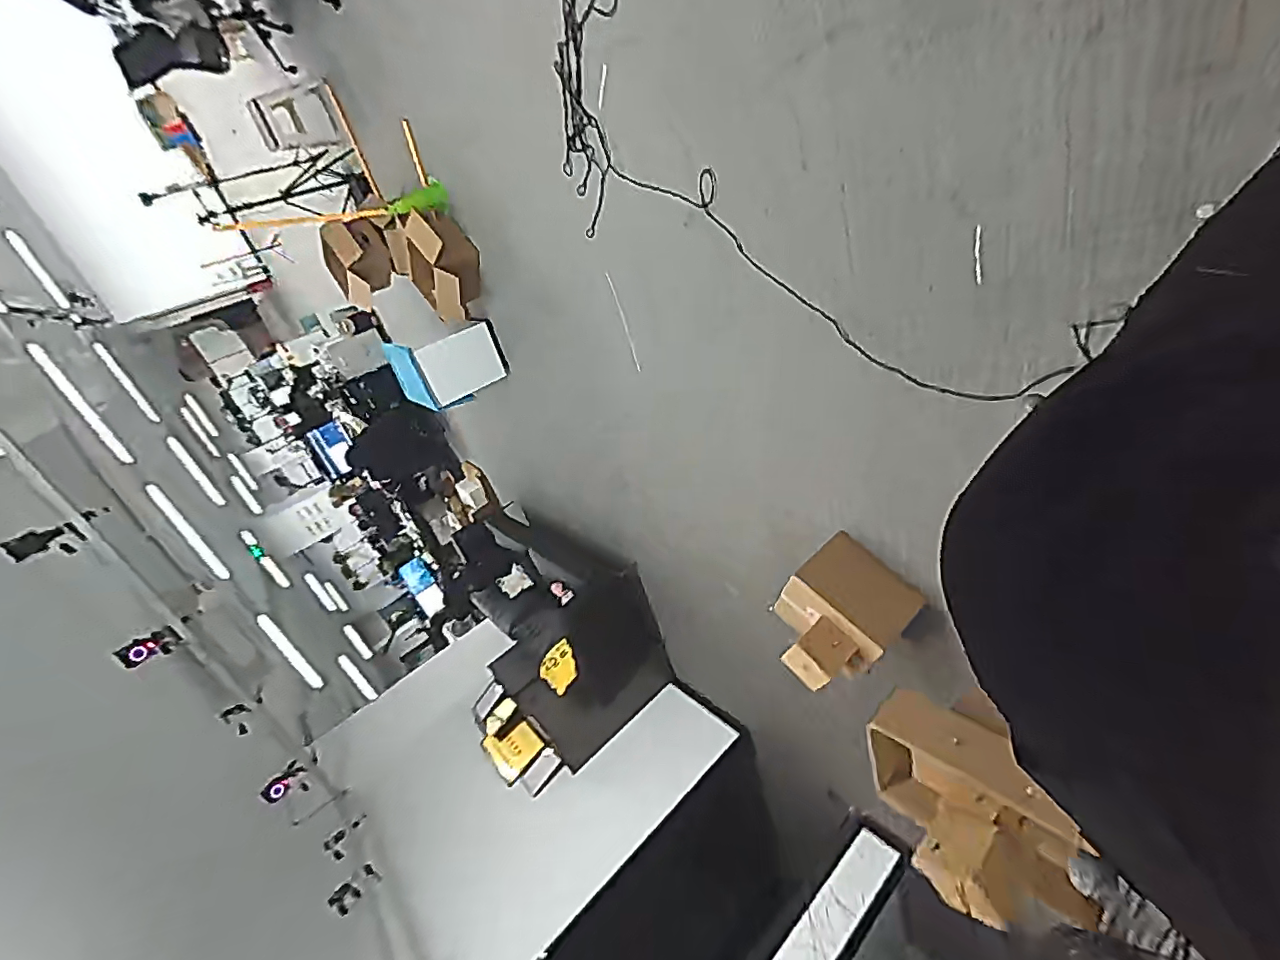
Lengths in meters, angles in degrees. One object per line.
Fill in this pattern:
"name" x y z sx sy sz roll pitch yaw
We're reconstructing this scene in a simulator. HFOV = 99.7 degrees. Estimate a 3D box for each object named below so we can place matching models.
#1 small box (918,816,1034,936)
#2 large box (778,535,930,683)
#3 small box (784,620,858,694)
"small box" 0.899 1.044 1.448 0.168 0.176 0.179 56 152 -1
"large box" 0.822 0.497 2.113 0.408 0.320 0.320 43 150 27
"small box" 0.669 0.650 1.992 0.168 0.176 0.179 45 152 22
